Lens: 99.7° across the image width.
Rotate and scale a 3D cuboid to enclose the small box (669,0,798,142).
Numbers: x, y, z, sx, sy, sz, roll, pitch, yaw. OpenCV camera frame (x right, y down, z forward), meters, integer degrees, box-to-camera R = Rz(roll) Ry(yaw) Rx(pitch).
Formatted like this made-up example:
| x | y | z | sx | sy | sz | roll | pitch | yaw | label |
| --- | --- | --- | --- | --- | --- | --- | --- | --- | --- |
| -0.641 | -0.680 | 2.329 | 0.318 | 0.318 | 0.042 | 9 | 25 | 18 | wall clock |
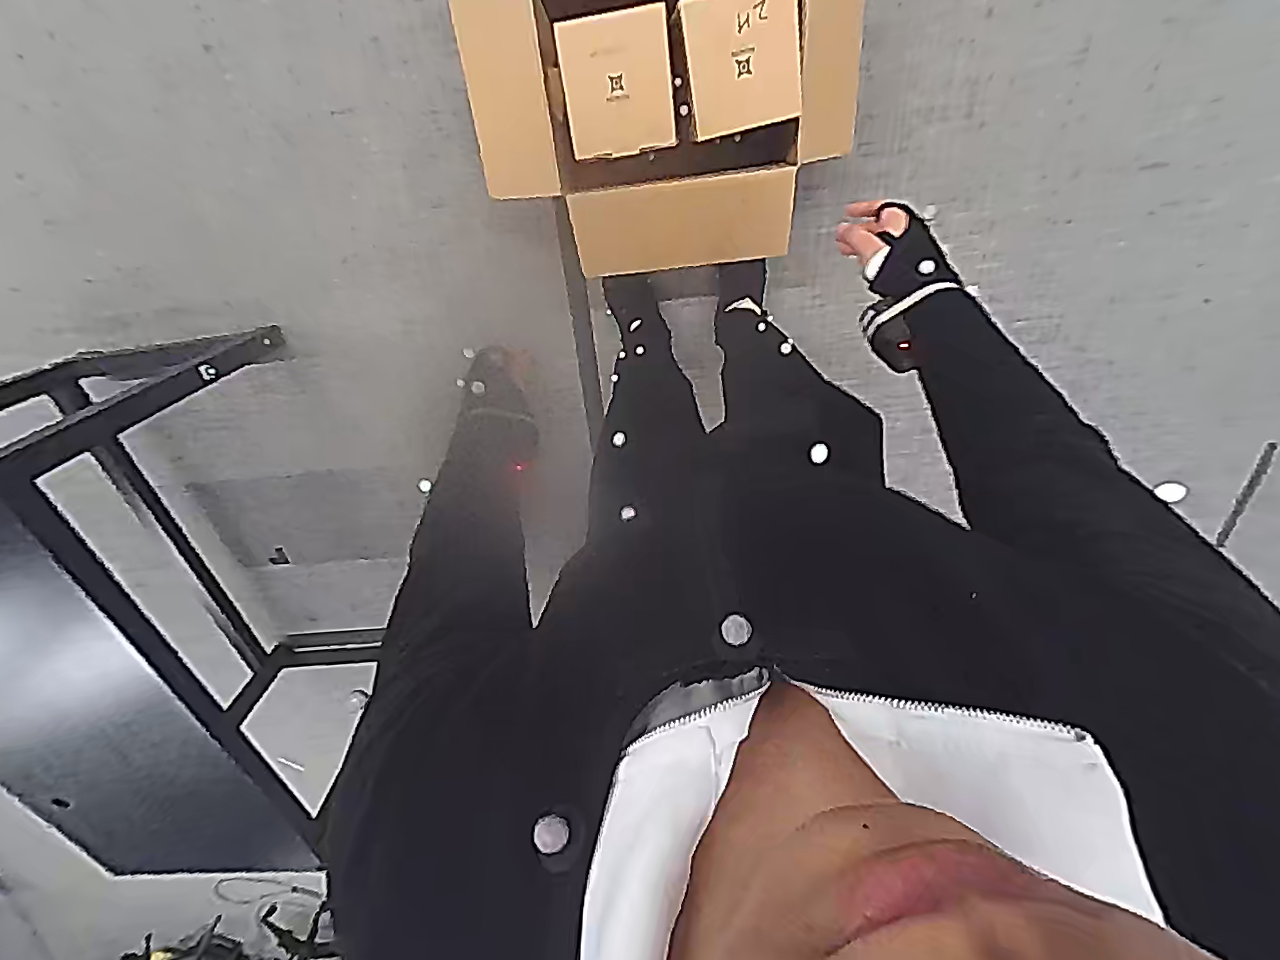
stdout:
| x | y | z | sx | sy | sz | roll | pitch | yaw | label |
| --- | --- | --- | --- | --- | --- | --- | --- | --- | --- |
| 0.145 | -0.658 | 0.861 | 0.168 | 0.176 | 0.179 | -12 | 121 | 5 | small box |
